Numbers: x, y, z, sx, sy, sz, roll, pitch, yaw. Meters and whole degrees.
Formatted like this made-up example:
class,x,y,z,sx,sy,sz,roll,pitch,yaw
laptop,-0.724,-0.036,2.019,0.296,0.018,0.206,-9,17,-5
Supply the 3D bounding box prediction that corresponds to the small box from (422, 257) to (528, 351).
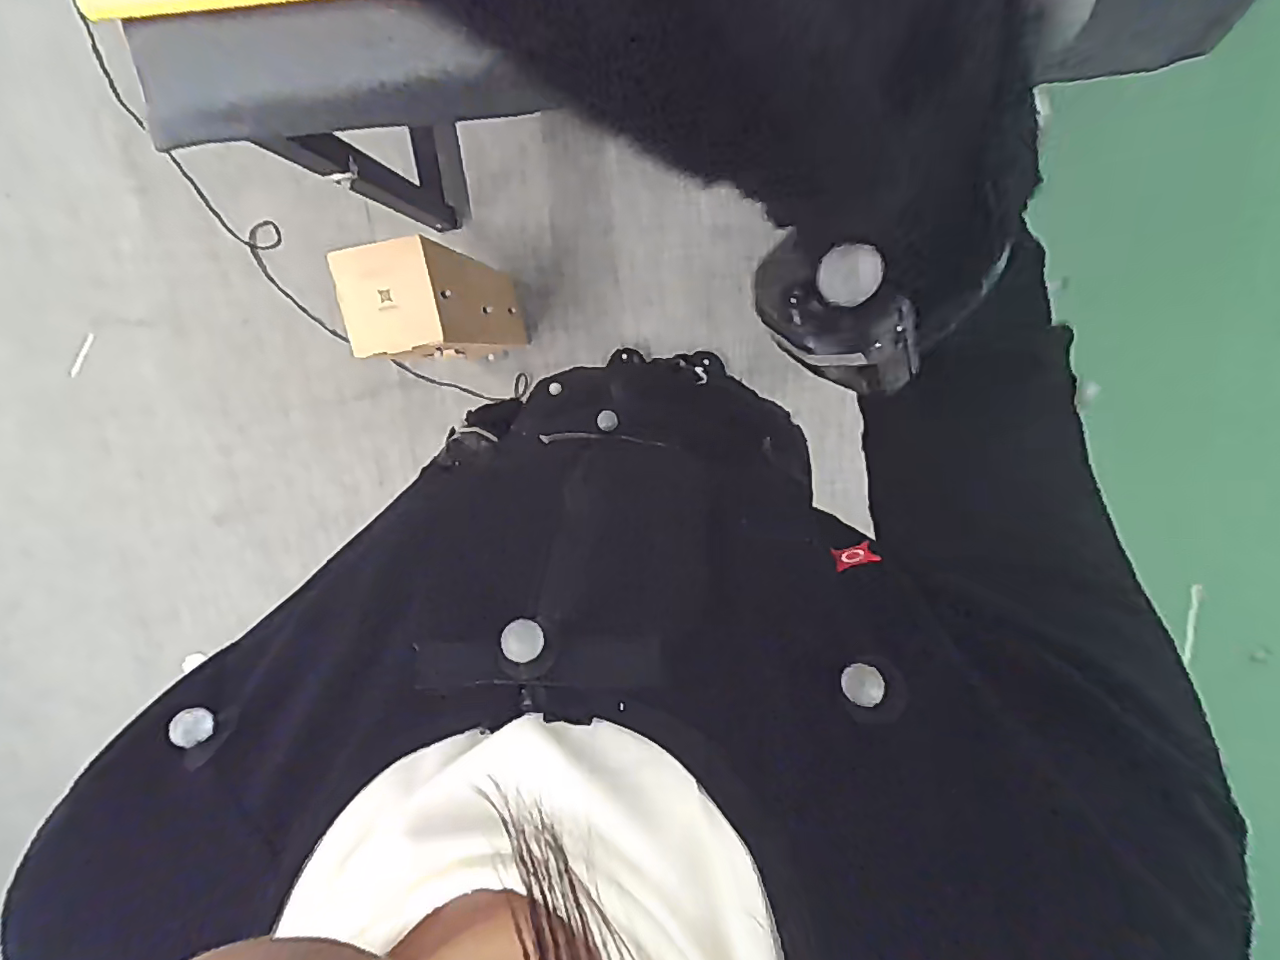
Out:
class,x,y,z,sx,sy,sz,roll,pitch,yaw
small box,-0.385,-0.411,1.289,0.168,0.176,0.179,-12,103,8
